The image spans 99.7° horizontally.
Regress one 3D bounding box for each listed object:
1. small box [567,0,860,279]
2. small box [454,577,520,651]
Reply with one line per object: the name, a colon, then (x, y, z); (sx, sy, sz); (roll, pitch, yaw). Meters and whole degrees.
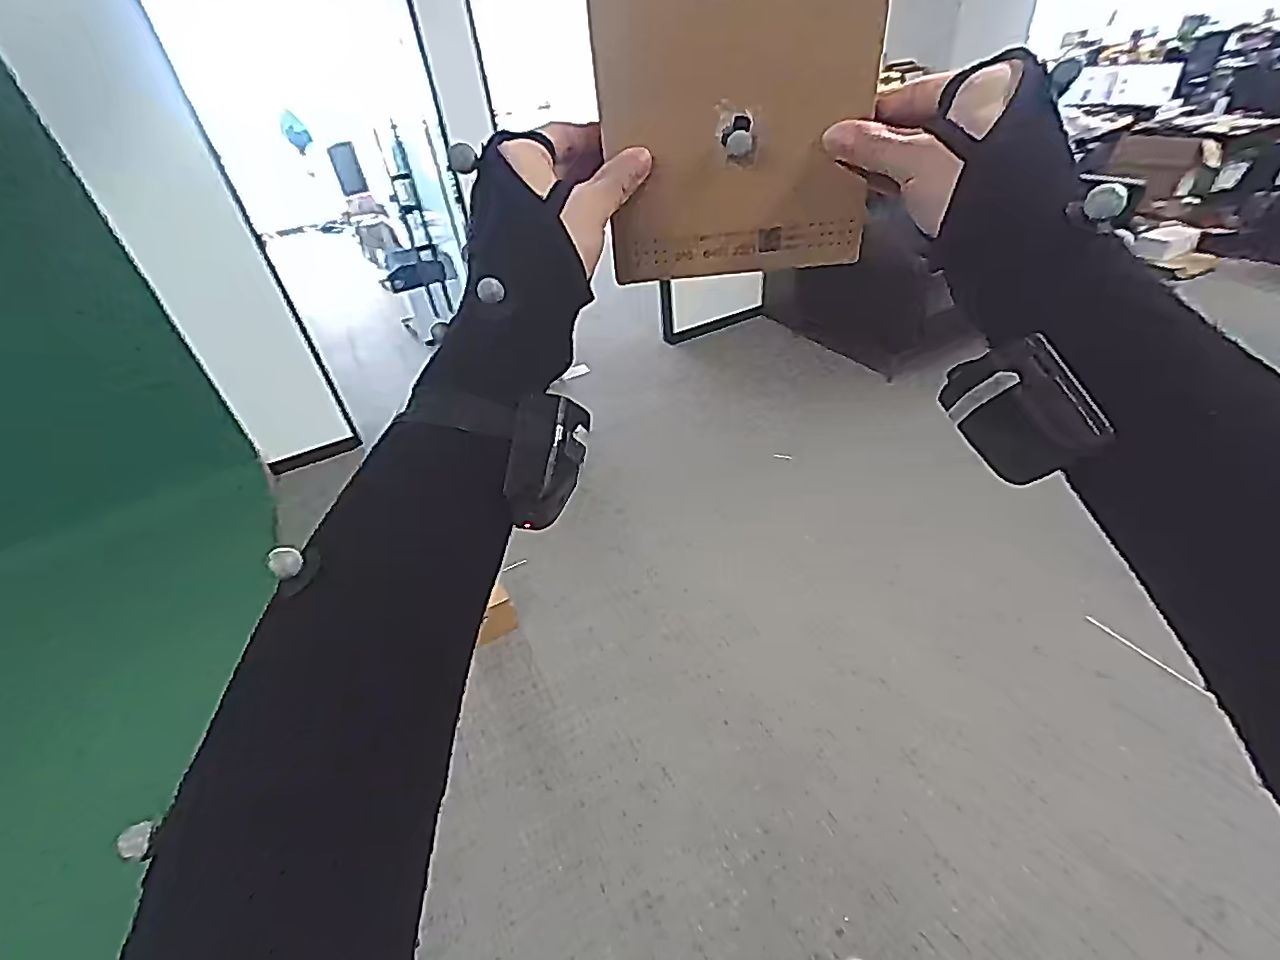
small box: (0.050, -0.252, 0.398); (0.168, 0.176, 0.179); (-4, 34, 3)
small box: (-0.569, 0.503, 2.020); (0.179, 0.176, 0.168); (-22, 40, -20)
